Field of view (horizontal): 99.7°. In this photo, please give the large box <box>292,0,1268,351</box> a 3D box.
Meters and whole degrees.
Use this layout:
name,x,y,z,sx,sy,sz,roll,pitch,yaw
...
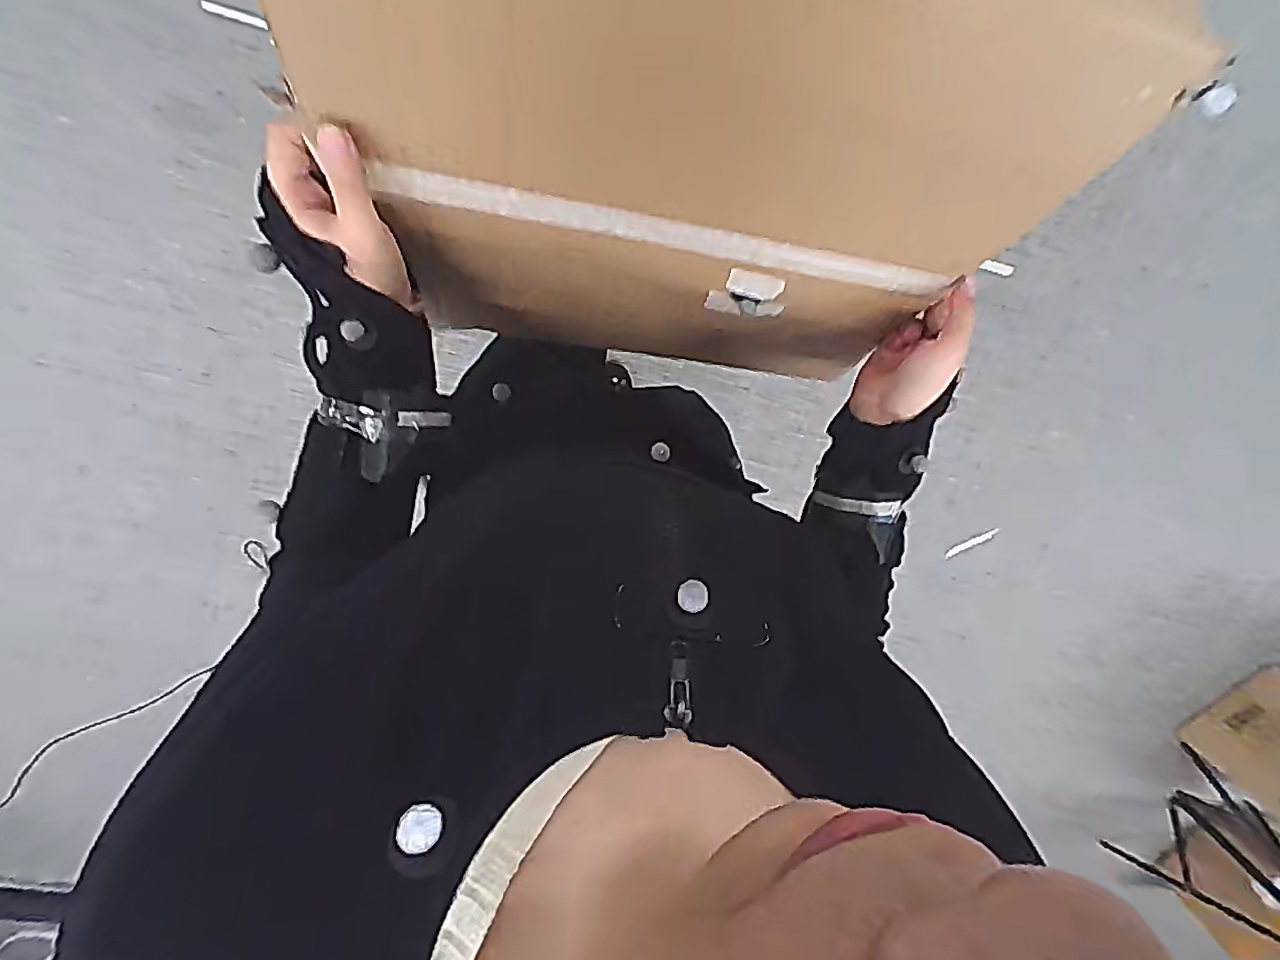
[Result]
name,x,y,z,sx,sy,sz,roll,pitch,yaw
large box,0.037,-0.317,0.353,0.408,0.320,0.320,5,74,-12
